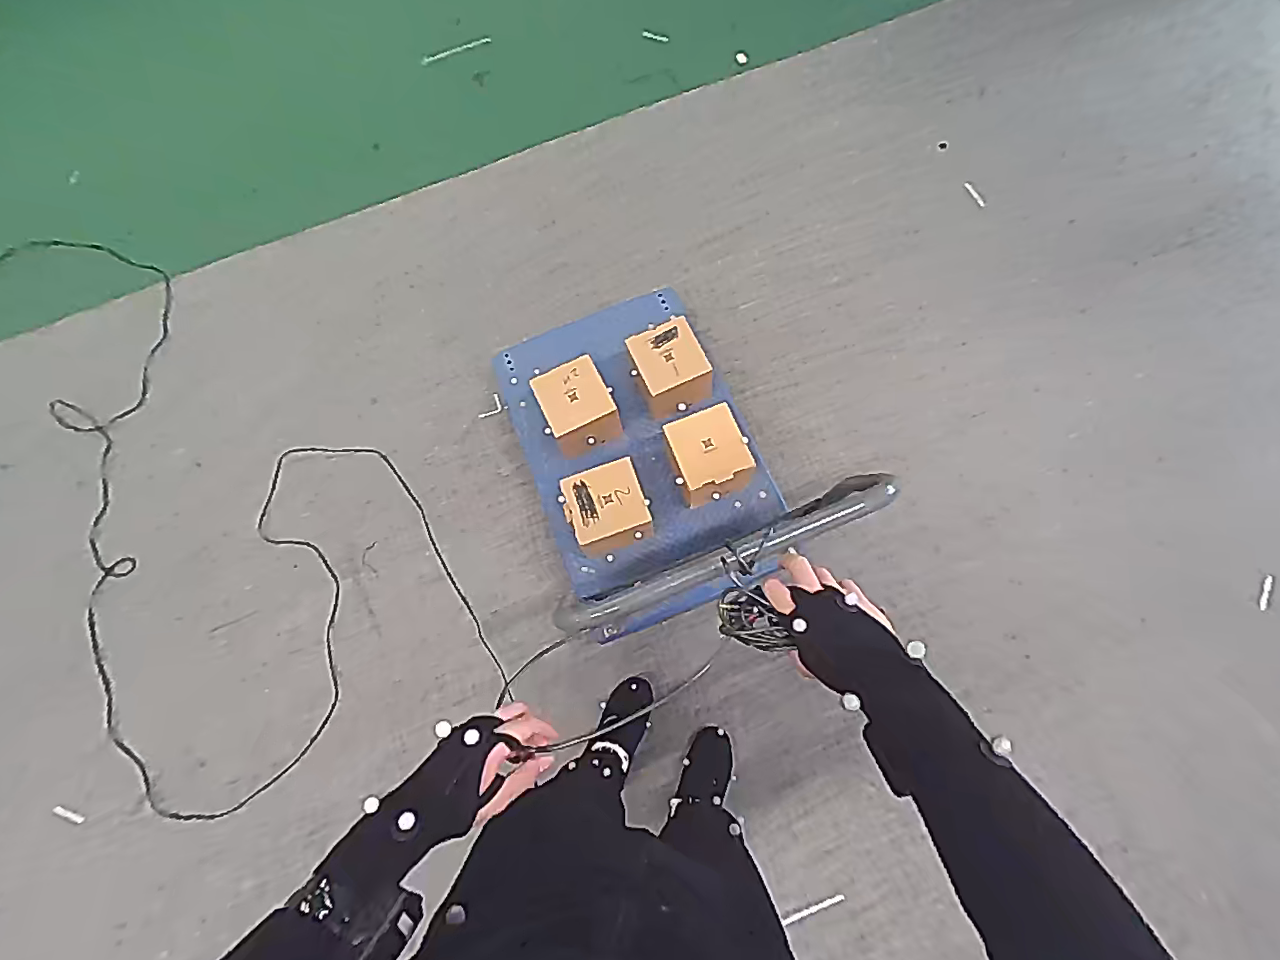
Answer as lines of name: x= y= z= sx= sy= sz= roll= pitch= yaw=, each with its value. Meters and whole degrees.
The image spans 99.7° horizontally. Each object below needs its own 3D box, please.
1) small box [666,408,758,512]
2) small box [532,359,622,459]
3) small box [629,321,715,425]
small box: x=0.169 y=-0.043 z=1.327 sx=0.168 sy=0.176 sz=0.179 roll=-21 pitch=72 yaw=-3
small box: x=-0.155 y=-0.171 z=1.388 sx=0.168 sy=0.176 sz=0.179 roll=-25 pitch=72 yaw=-5
small box: x=0.081 y=-0.273 z=1.404 sx=0.168 sy=0.176 sz=0.179 roll=-24 pitch=73 yaw=-3
